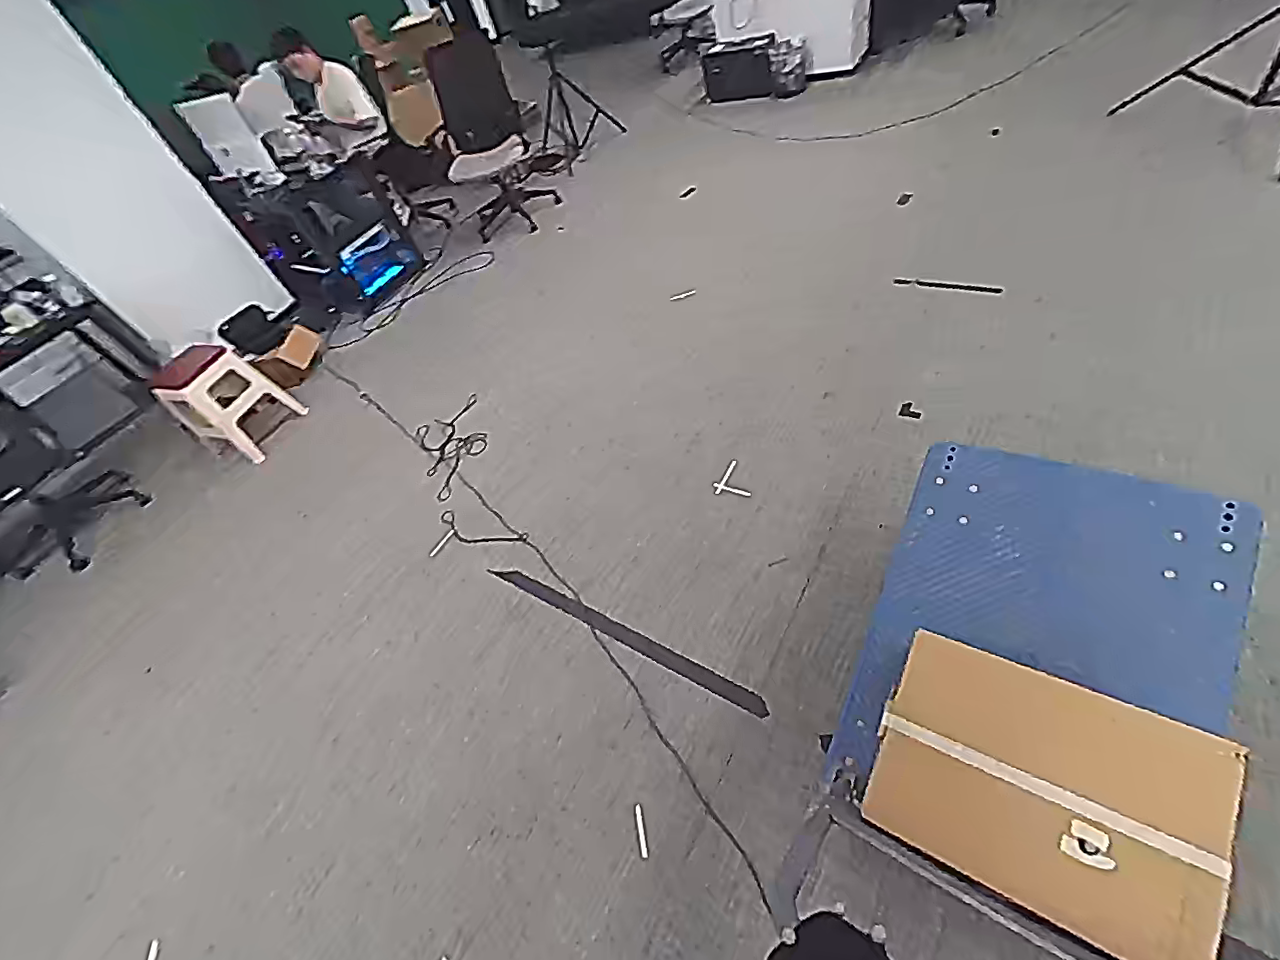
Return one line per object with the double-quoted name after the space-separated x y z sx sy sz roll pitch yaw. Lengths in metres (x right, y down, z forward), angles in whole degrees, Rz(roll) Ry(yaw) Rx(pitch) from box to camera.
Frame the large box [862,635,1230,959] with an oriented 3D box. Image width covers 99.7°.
0.629 0.502 0.919 0.408 0.320 0.320 18 77 30 "large box"
